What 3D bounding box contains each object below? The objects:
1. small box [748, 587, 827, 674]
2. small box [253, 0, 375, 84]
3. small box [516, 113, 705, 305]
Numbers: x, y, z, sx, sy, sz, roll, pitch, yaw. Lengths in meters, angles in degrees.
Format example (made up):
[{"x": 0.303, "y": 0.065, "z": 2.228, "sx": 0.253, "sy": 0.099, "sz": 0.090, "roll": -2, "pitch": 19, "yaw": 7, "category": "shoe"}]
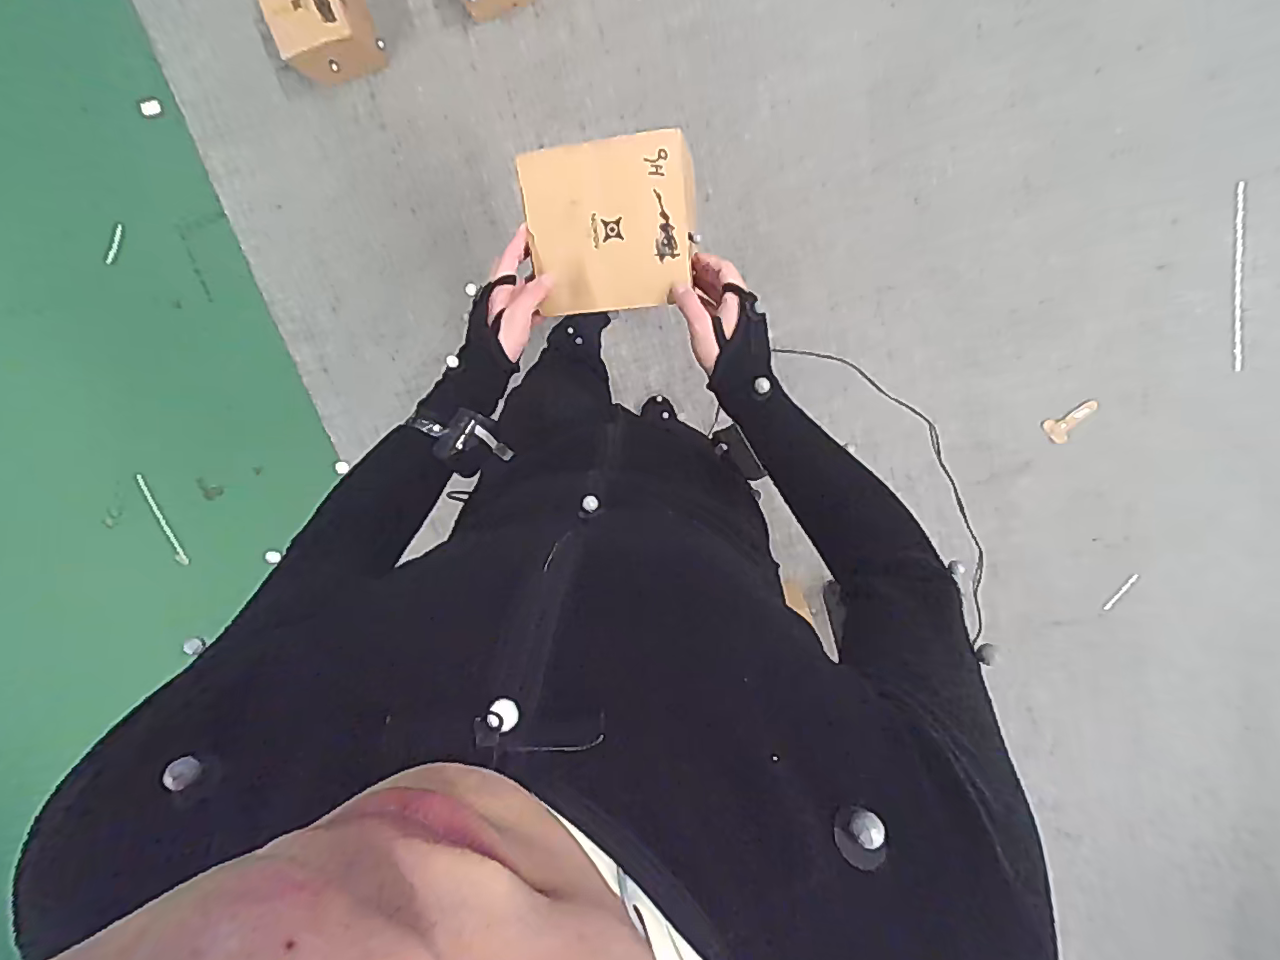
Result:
[{"x": 0.444, "y": 0.451, "z": 1.656, "sx": 0.168, "sy": 0.176, "sz": 0.179, "roll": -24, "pitch": 105, "yaw": 9, "category": "small box"}, {"x": -0.731, "y": -1.041, "z": 1.221, "sx": 0.179, "sy": 0.176, "sz": 0.168, "roll": -14, "pitch": 106, "yaw": 7, "category": "small box"}, {"x": -0.021, "y": -0.296, "z": 0.627, "sx": 0.179, "sy": 0.176, "sz": 0.168, "roll": -2, "pitch": 110, "yaw": 11, "category": "small box"}]
